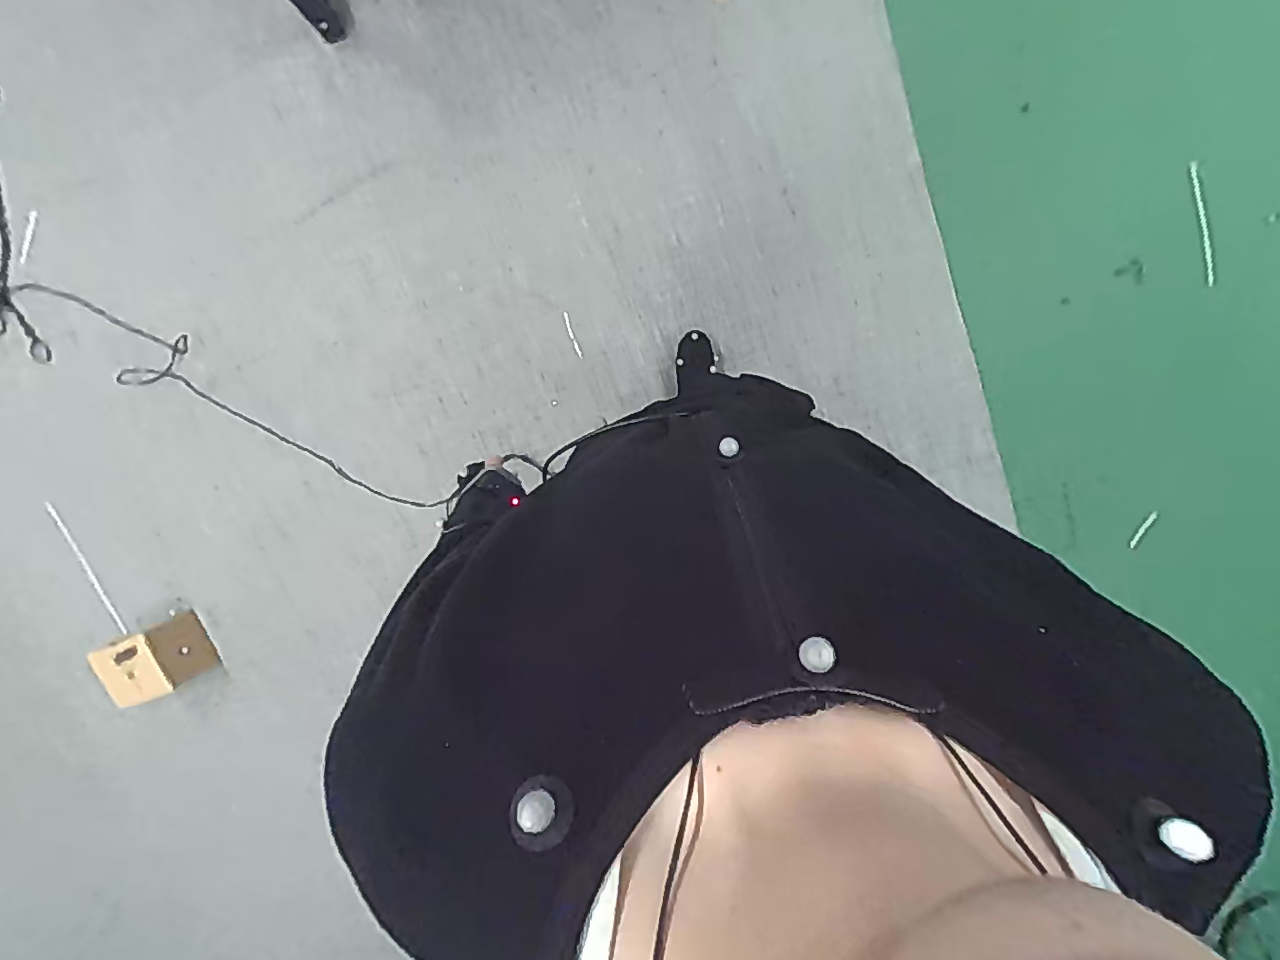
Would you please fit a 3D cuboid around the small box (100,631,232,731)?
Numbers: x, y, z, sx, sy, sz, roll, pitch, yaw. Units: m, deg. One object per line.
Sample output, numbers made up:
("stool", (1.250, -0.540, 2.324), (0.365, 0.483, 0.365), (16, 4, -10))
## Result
("small box", (-1.283, 0.537, 1.477), (0.168, 0.176, 0.179), (-23, 100, 3))
